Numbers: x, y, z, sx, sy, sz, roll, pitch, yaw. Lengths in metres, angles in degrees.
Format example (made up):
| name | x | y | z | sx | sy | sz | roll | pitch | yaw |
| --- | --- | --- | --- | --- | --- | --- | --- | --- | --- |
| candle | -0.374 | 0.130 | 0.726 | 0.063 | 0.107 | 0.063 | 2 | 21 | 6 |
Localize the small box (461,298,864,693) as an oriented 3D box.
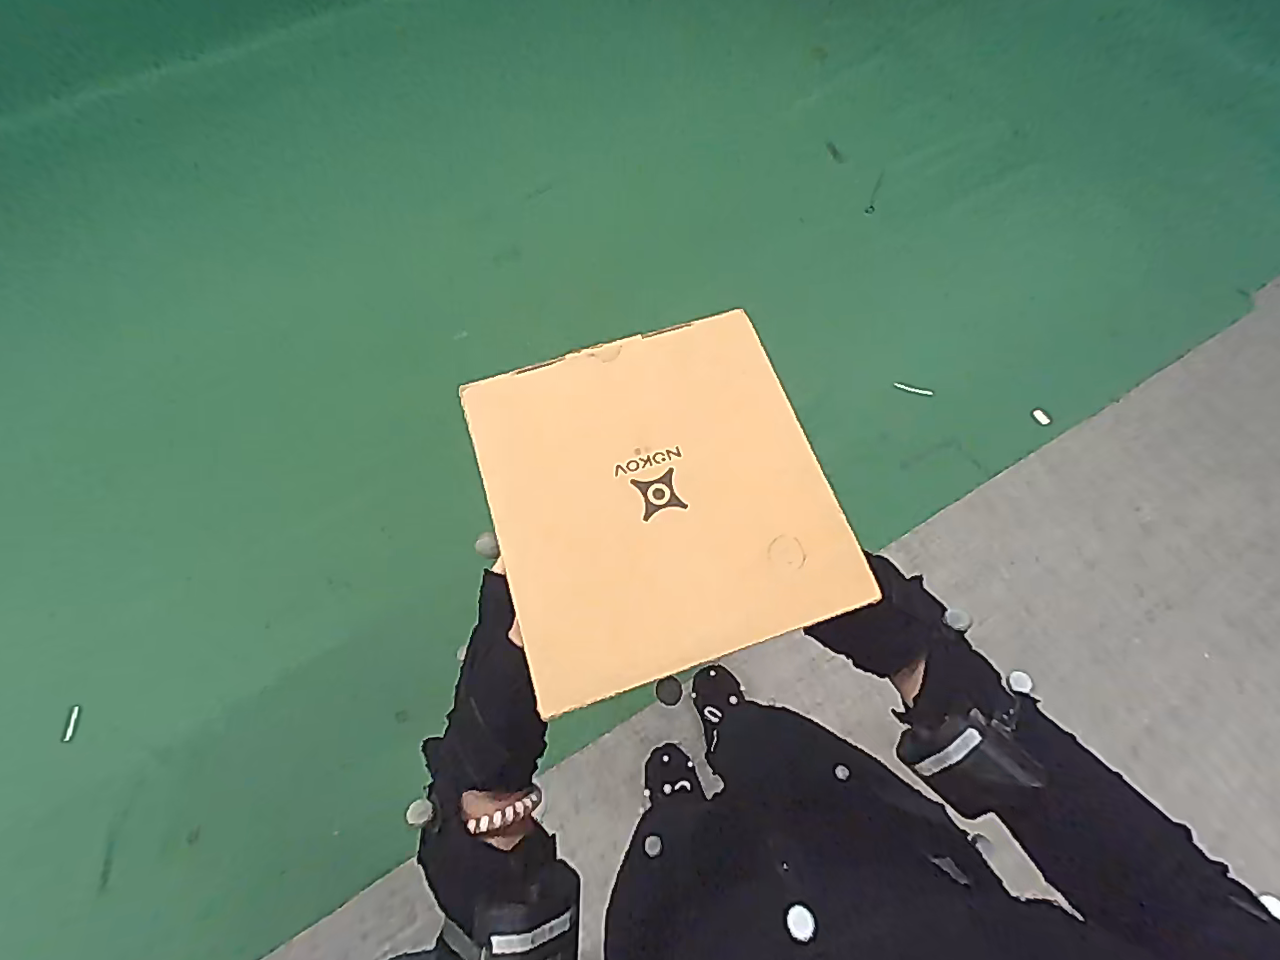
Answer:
| name | x | y | z | sx | sy | sz | roll | pitch | yaw |
| --- | --- | --- | --- | --- | --- | --- | --- | --- | --- |
| small box | 0.005 | 0.022 | 0.349 | 0.168 | 0.176 | 0.179 | -17 | 70 | -7 |
